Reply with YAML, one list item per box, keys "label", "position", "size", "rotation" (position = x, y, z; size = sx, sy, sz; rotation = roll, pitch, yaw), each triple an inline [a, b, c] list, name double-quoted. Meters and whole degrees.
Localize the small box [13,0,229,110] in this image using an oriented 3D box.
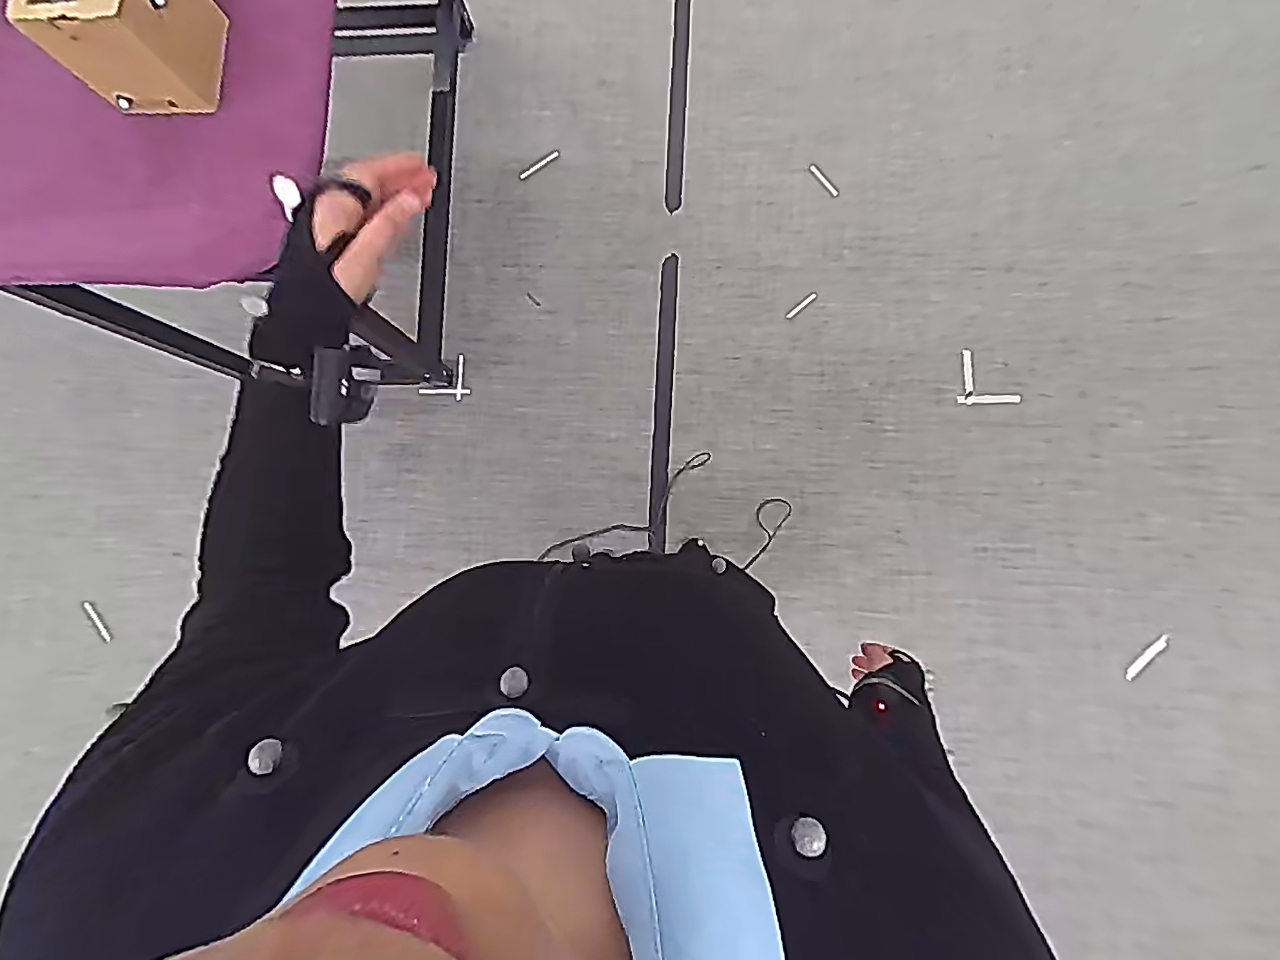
- label: "small box"
  position: [-0.778, -0.707, 0.831]
  size: [0.168, 0.176, 0.179]
  rotation: [2, 83, 2]
